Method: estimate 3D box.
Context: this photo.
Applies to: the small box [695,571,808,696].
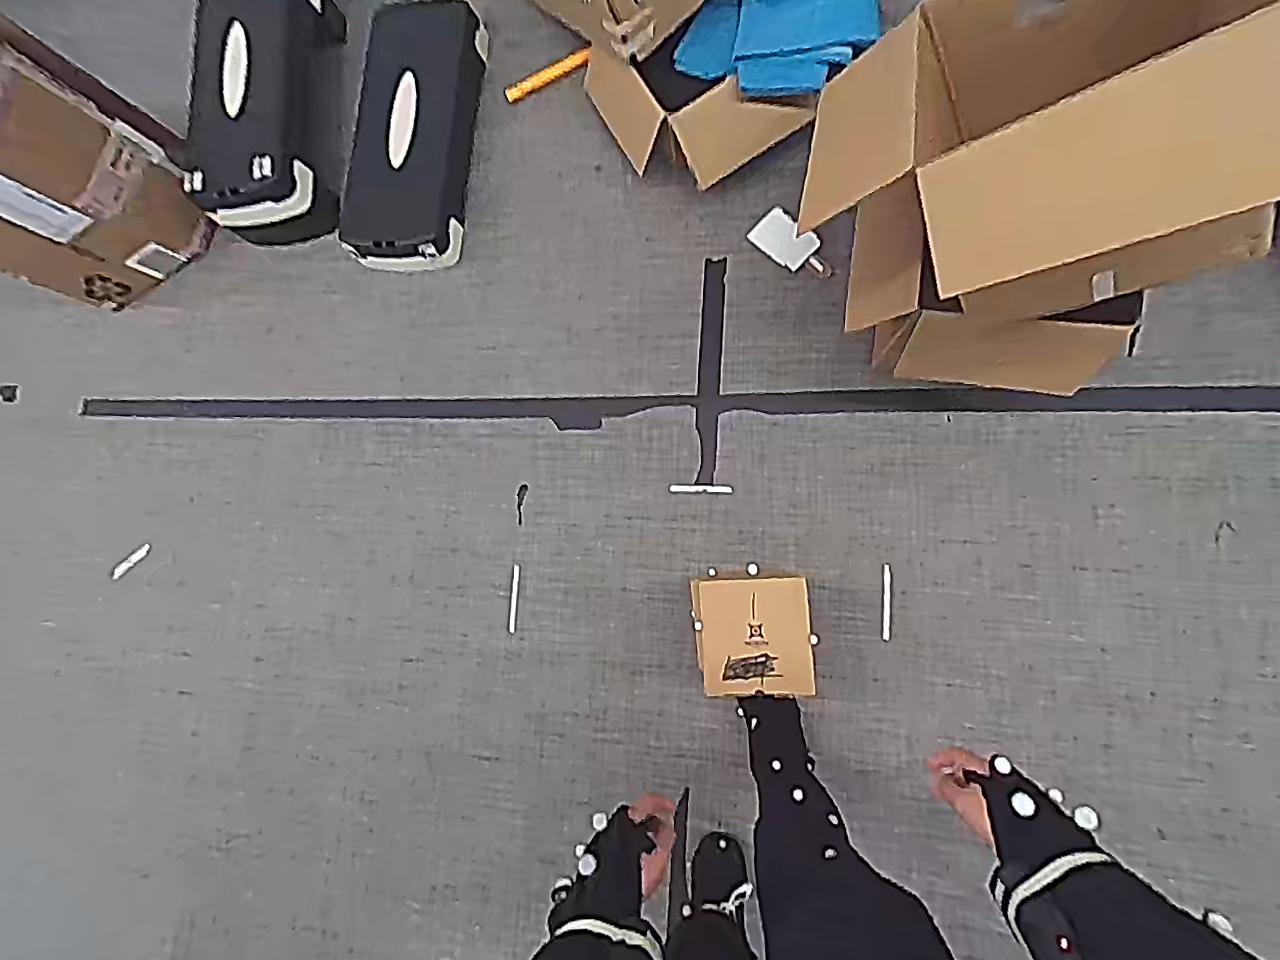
[{"bbox_3d":[0.183,0.247,0.904,0.168,0.176,0.179,-4,83,9],"label":"small box"}]
